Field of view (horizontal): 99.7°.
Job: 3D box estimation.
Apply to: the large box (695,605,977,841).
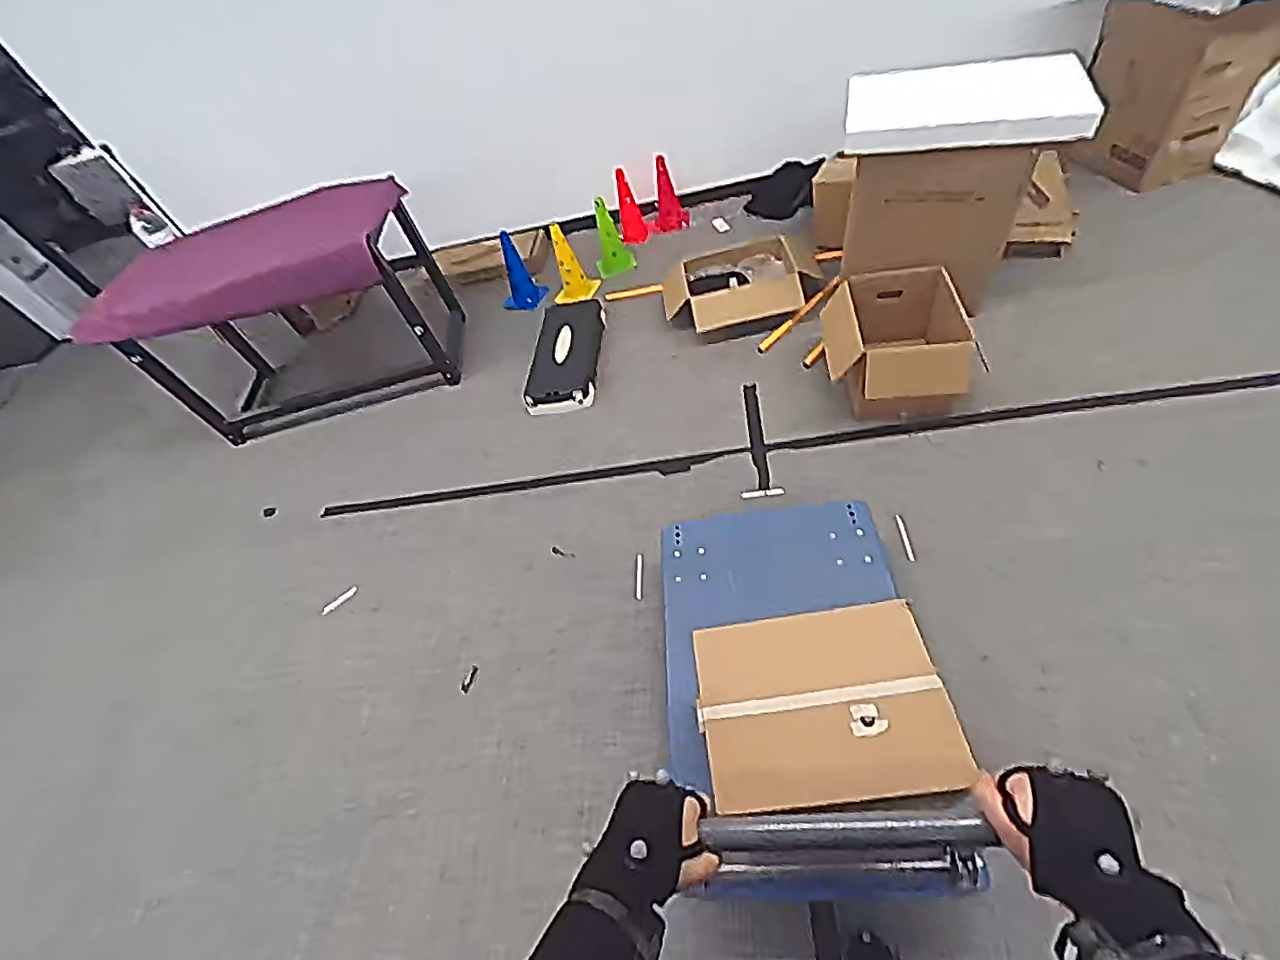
[{"bbox_3d":[0.337,0.479,1.047,0.408,0.320,0.320,-10,50,6],"label":"large box"}]
